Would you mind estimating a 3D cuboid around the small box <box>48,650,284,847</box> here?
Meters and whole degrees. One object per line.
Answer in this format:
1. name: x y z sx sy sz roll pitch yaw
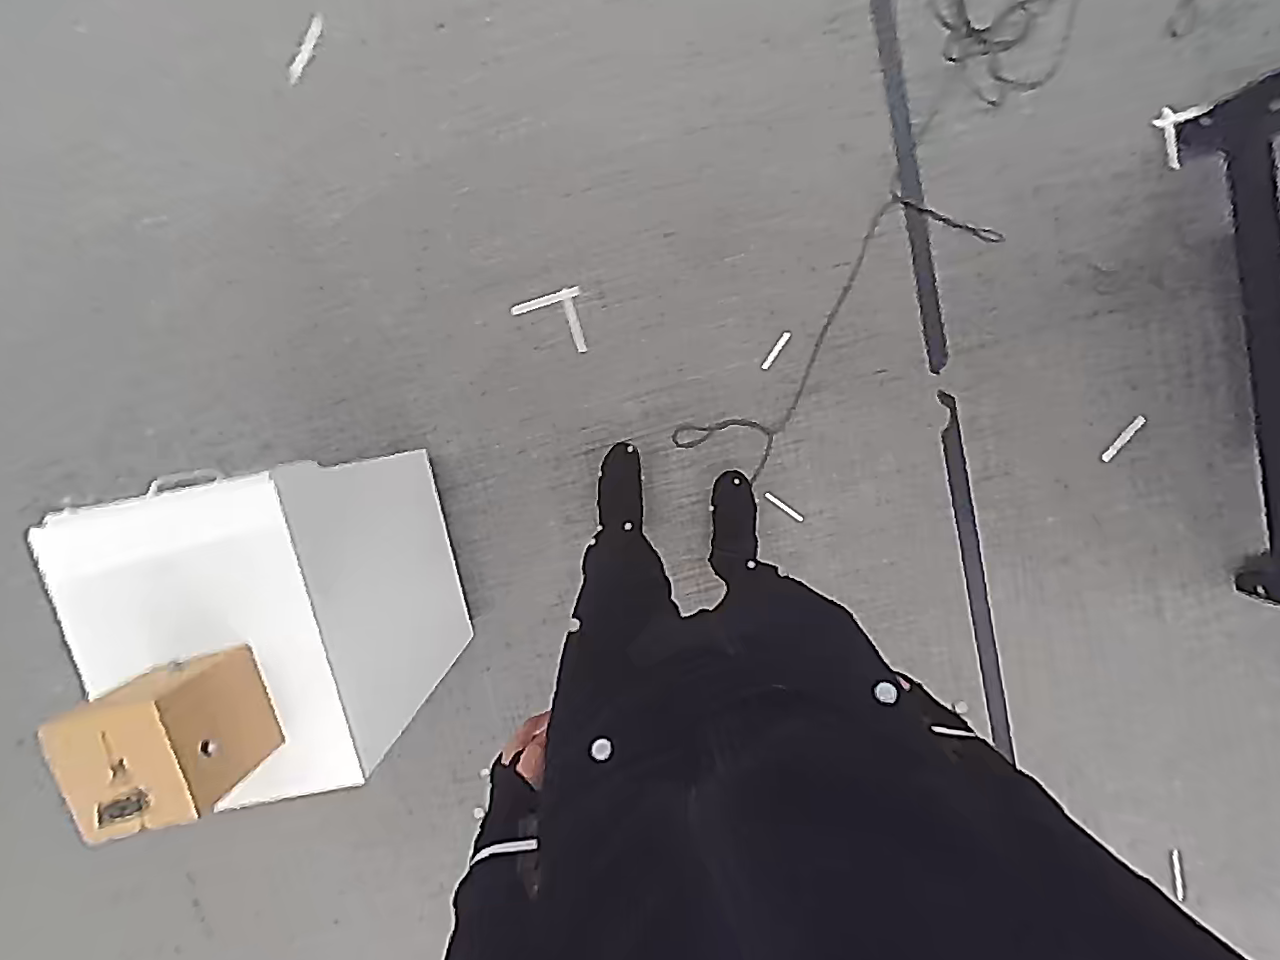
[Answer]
1. small box: -0.663 0.375 0.782 0.168 0.176 0.179 -15 97 3
